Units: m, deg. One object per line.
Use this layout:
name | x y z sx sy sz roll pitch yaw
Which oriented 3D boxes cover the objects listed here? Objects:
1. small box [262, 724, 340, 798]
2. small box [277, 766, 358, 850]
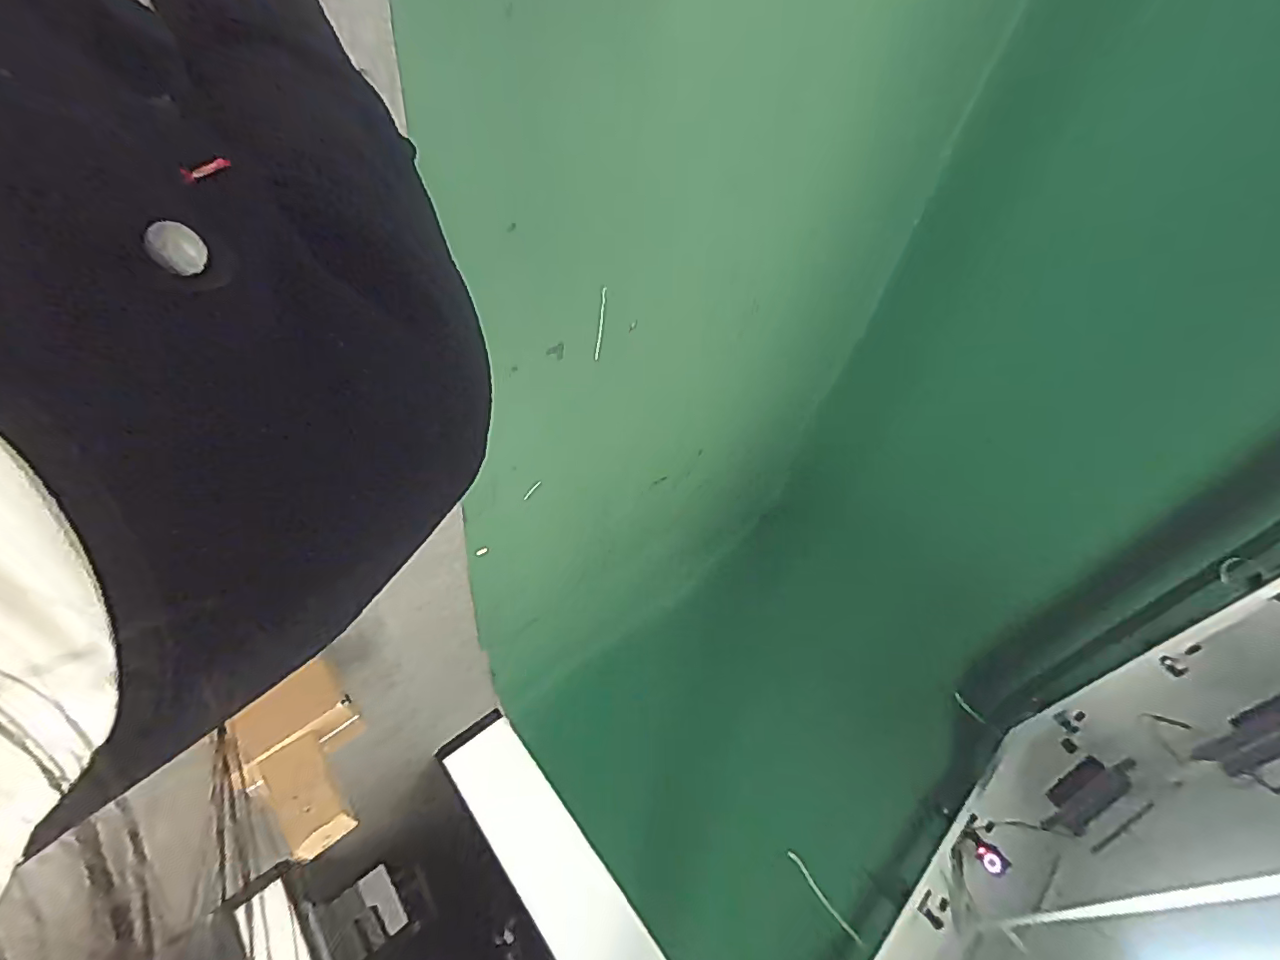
small box | -1.215 1.017 1.930 0.179 0.176 0.168 -30 149 -31
small box | -1.111 1.122 1.861 0.168 0.176 0.179 -31 148 -30
